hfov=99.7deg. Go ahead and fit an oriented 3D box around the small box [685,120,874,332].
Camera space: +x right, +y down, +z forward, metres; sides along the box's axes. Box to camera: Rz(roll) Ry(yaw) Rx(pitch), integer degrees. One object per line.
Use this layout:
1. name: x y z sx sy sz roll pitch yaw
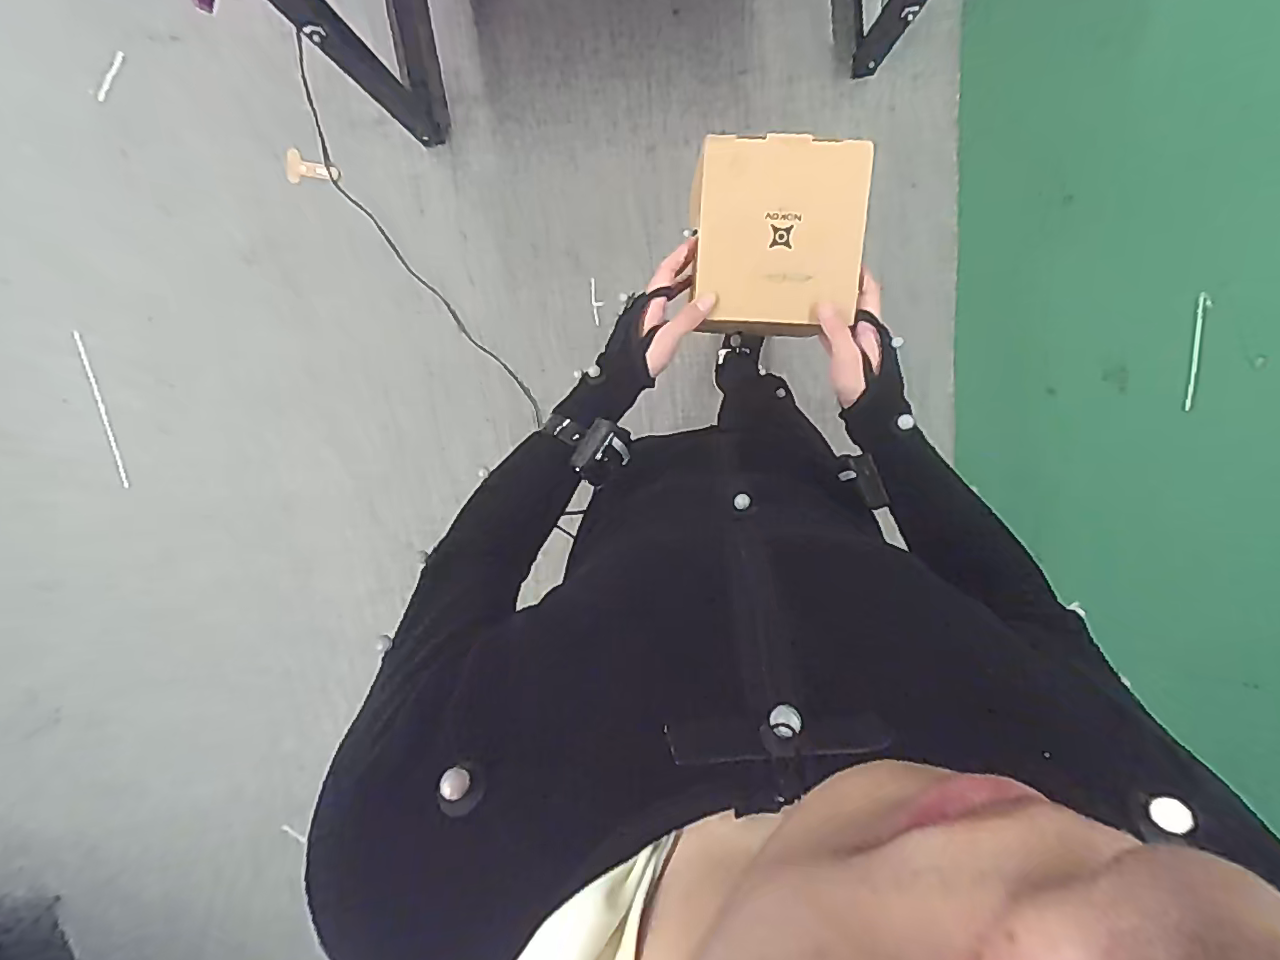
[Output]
1. small box: 0.141 -0.269 0.611 0.168 0.176 0.179 3 100 1
